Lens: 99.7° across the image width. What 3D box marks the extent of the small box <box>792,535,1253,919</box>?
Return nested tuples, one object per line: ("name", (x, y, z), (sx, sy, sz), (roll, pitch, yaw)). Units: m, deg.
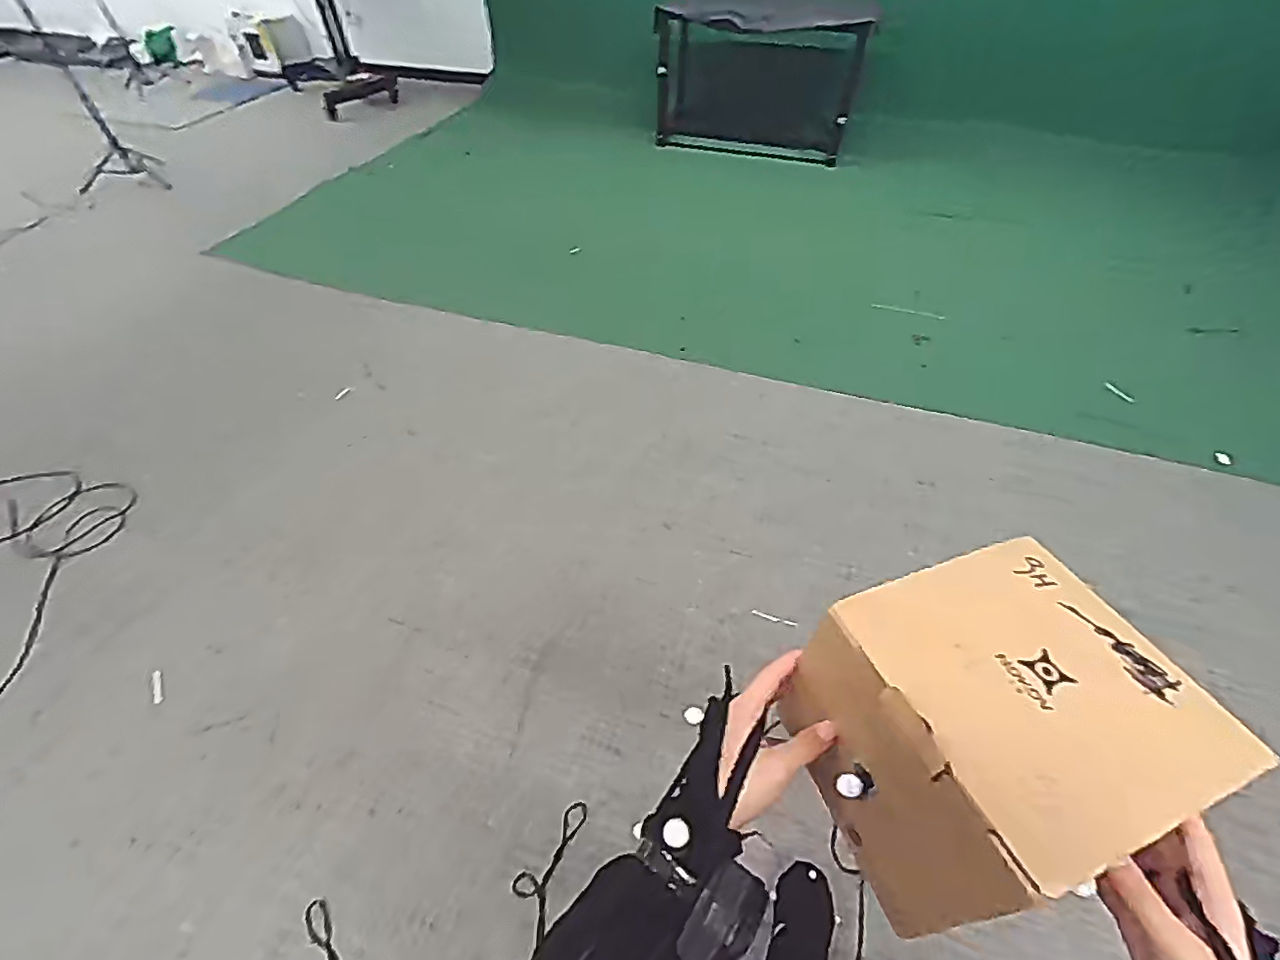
("small box", (0.226, 0.172, 0.380), (0.179, 0.176, 0.168), (-15, 48, -15))
